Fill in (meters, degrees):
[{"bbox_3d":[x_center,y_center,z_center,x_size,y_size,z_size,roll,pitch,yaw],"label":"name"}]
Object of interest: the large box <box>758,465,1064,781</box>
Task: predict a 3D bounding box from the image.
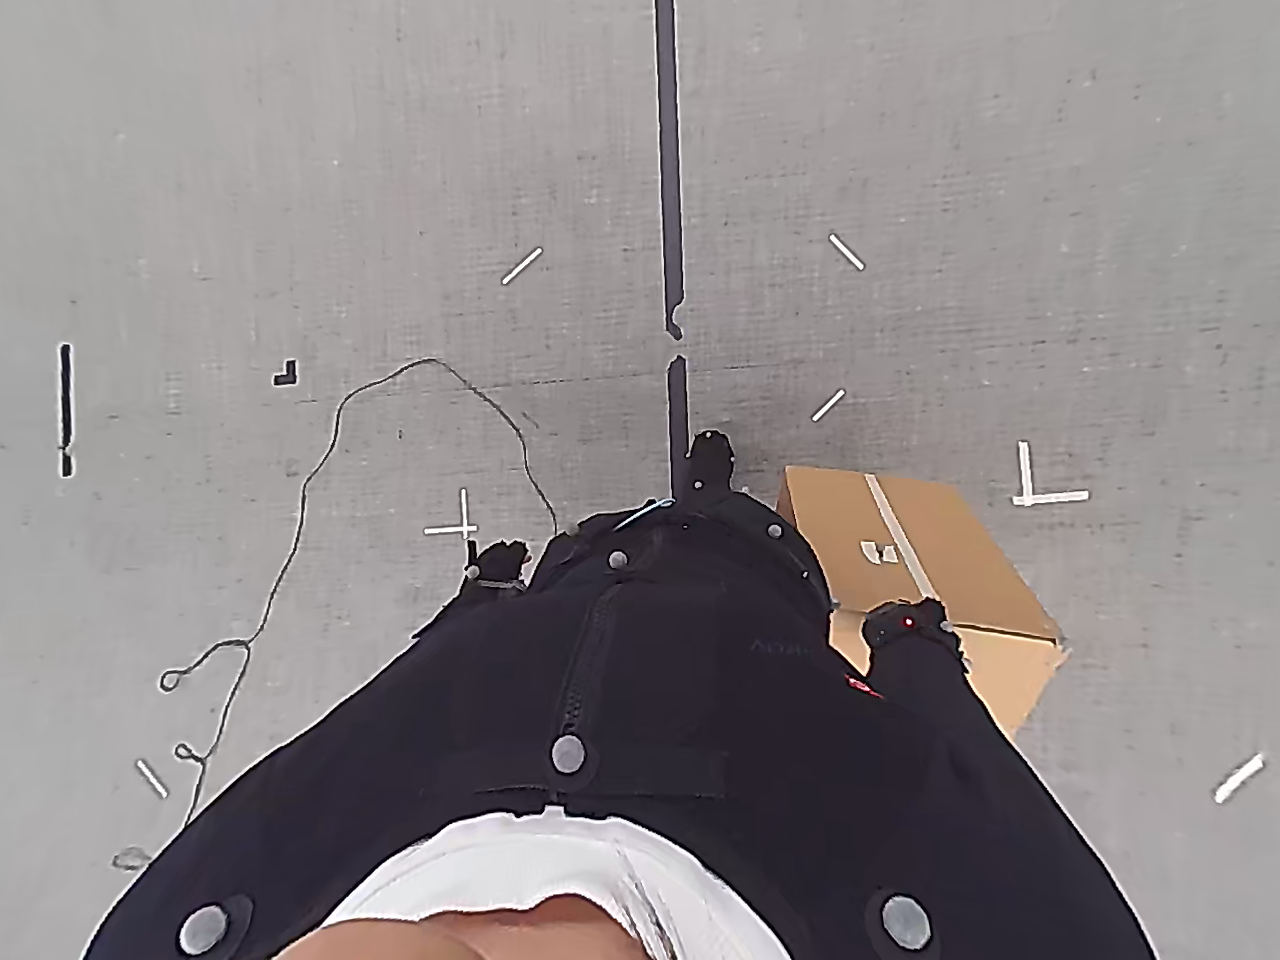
[{"bbox_3d":[0.395,0.217,0.930,0.320,0.408,0.320,7,120,5],"label":"large box"}]
